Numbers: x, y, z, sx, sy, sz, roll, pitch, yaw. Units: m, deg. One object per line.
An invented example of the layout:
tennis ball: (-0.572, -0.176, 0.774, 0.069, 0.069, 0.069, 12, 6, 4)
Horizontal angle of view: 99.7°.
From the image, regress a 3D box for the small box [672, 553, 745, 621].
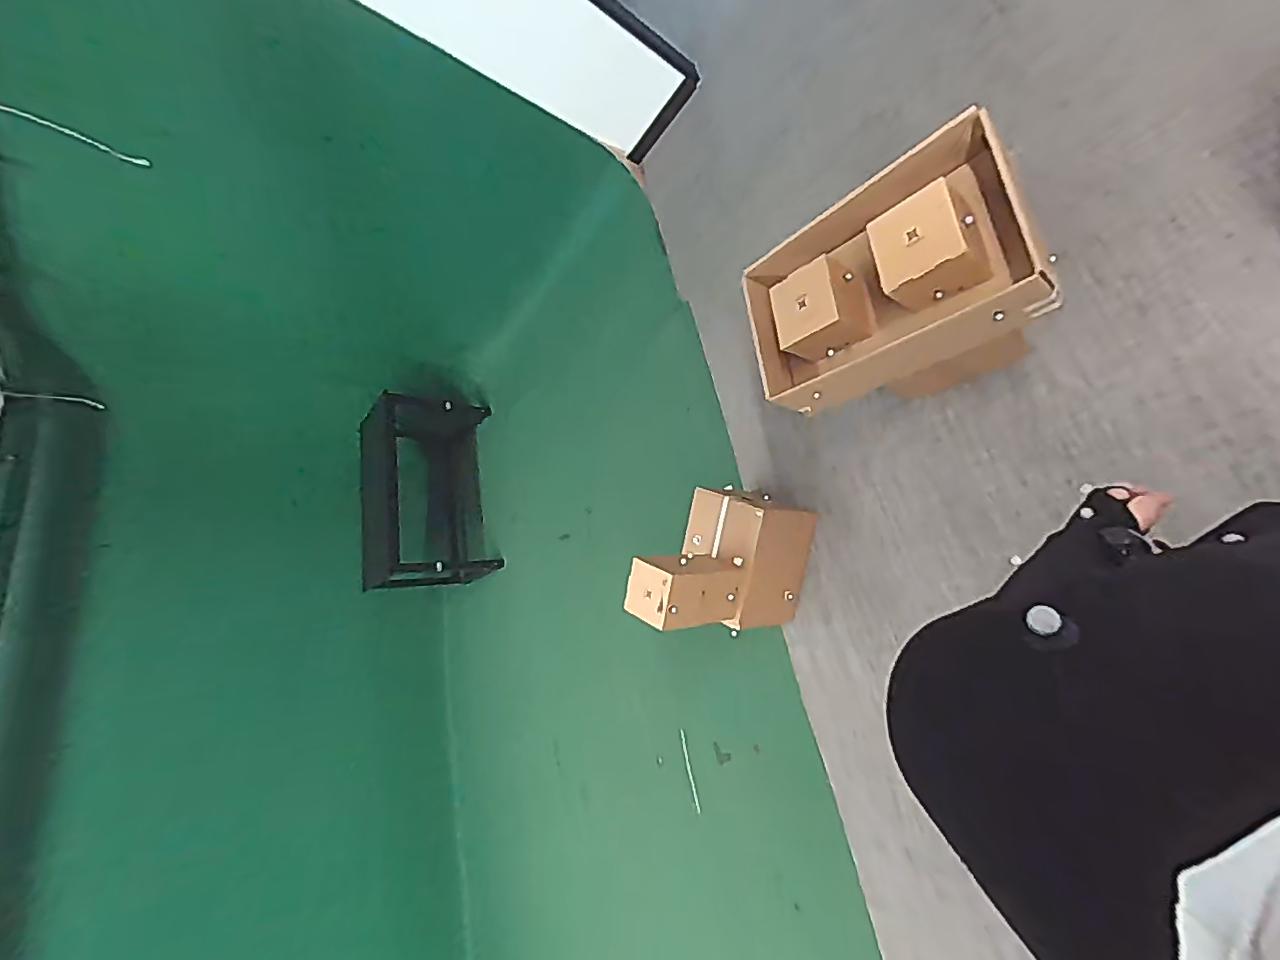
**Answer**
small box: (0.204, 0.337, 1.730, 0.179, 0.176, 0.168, 17, 99, 47)

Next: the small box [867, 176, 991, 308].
small box: (0.624, -0.502, 1.168, 0.168, 0.176, 0.179, -22, 71, 46)

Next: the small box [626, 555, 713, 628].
small box: (0.088, 0.328, 1.614, 0.179, 0.176, 0.168, 17, 99, 49)
